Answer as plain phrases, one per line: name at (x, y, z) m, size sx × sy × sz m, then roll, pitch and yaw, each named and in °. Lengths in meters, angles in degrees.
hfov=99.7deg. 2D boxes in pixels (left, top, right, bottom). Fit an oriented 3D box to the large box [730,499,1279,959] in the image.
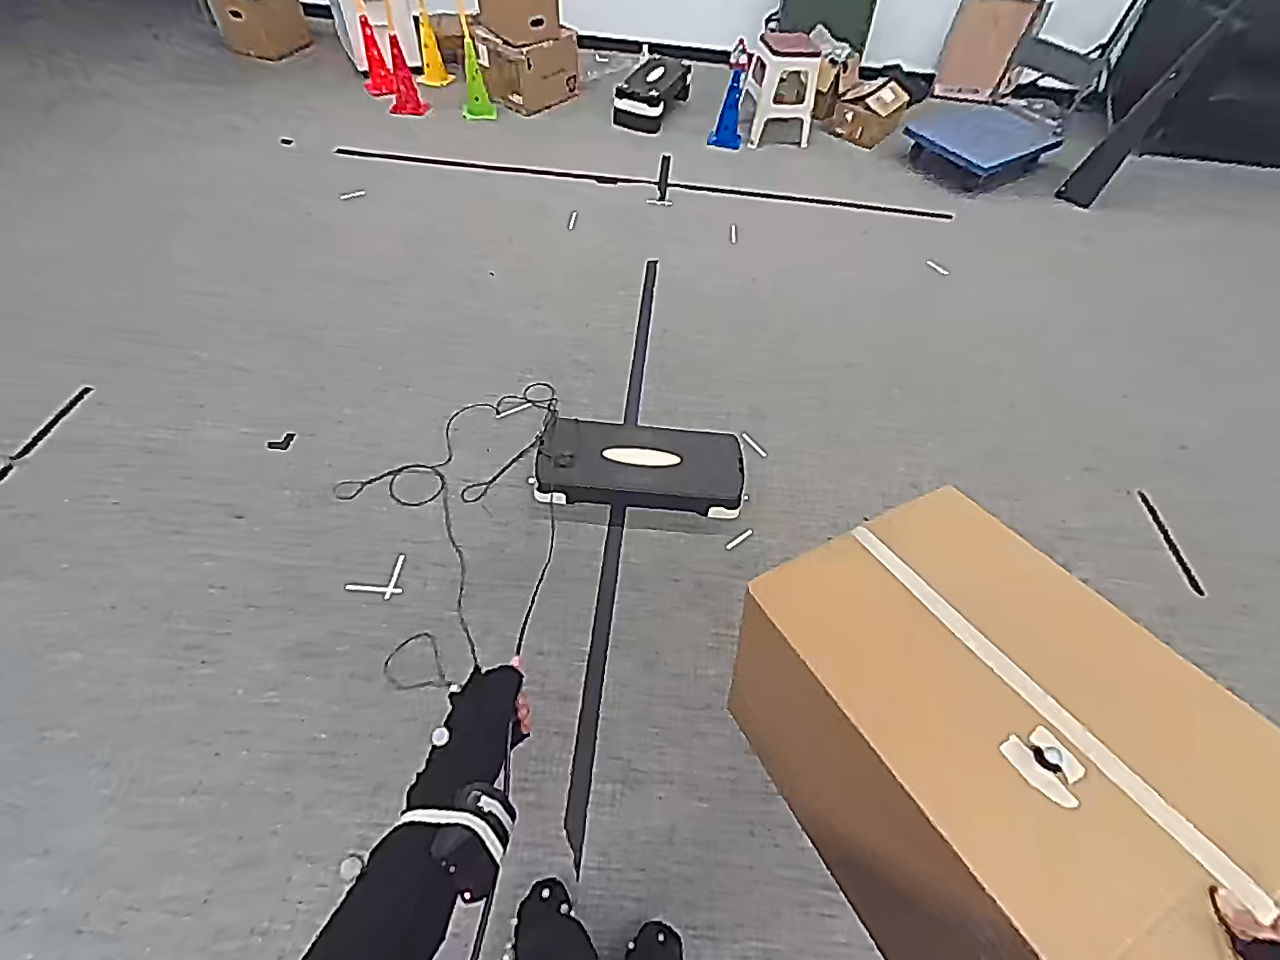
large box at (0.350, 0.298, 0.621) m, size 0.320 × 0.320 × 0.408 m, roll -21°, pitch 47°, yaw -17°
